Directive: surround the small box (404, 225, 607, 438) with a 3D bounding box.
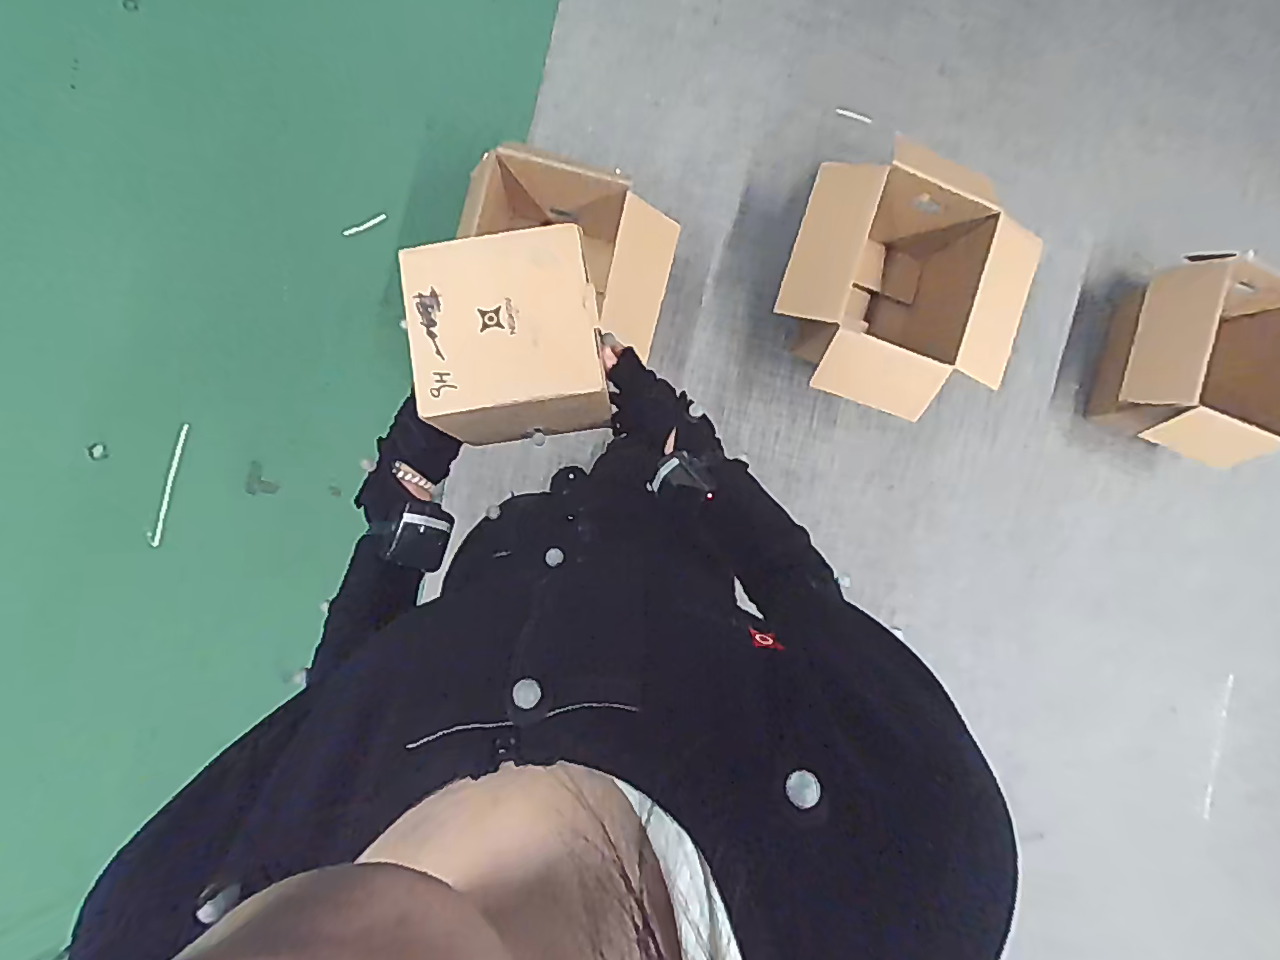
[{"bbox_3d":[-0.131,-0.147,0.588,0.179,0.176,0.168,-8,84,-2],"label":"small box"}]
